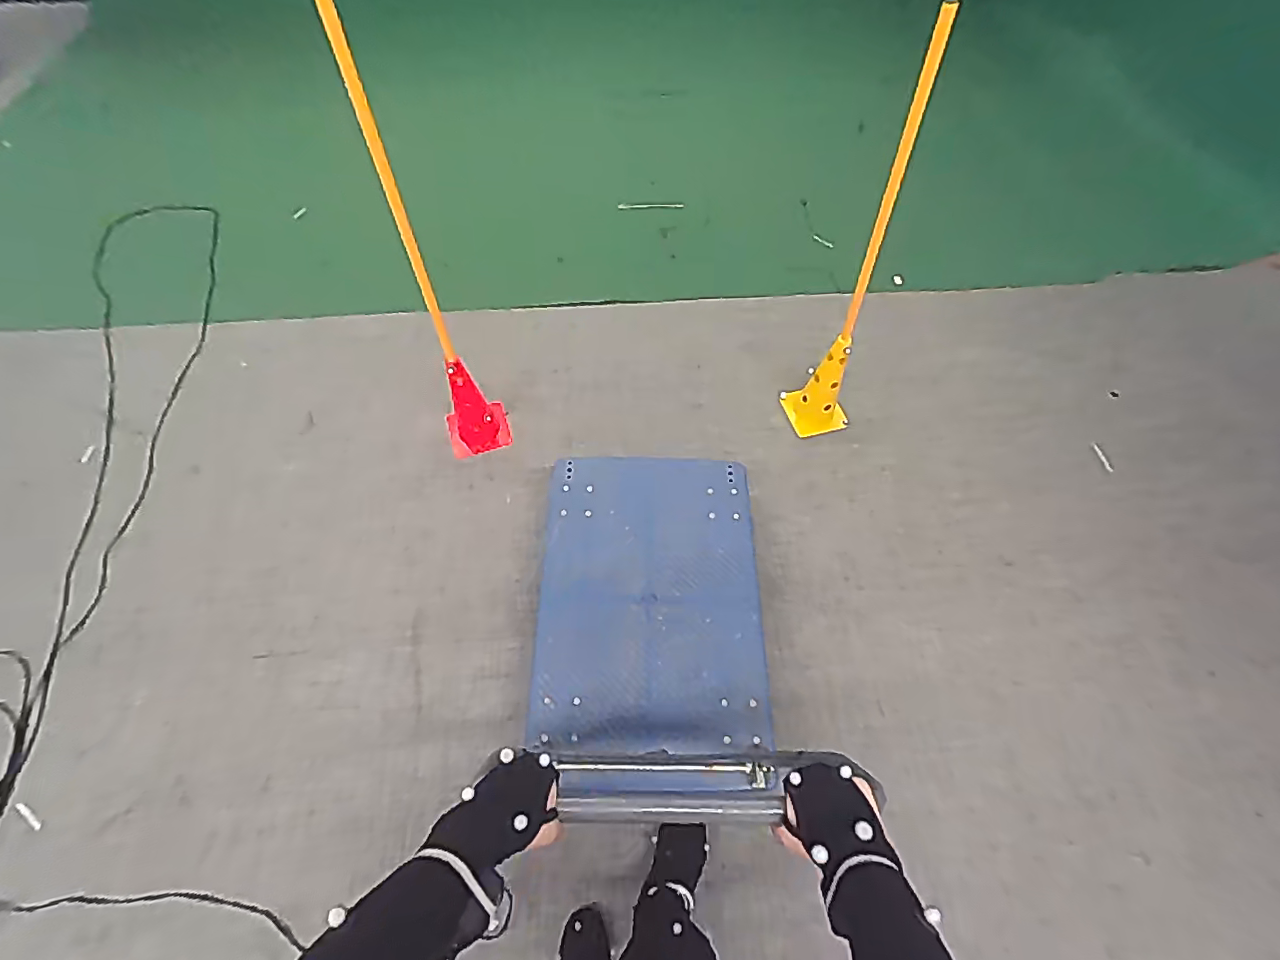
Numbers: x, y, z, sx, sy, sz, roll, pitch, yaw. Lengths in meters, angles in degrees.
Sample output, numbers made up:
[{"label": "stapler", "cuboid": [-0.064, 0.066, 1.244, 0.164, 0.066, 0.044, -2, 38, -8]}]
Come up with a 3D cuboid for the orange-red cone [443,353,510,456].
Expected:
[{"label": "orange-red cone", "cuboid": [-0.557, -0.265, 1.721, 0.199, 0.360, 0.198, -17, 61, -10]}]
